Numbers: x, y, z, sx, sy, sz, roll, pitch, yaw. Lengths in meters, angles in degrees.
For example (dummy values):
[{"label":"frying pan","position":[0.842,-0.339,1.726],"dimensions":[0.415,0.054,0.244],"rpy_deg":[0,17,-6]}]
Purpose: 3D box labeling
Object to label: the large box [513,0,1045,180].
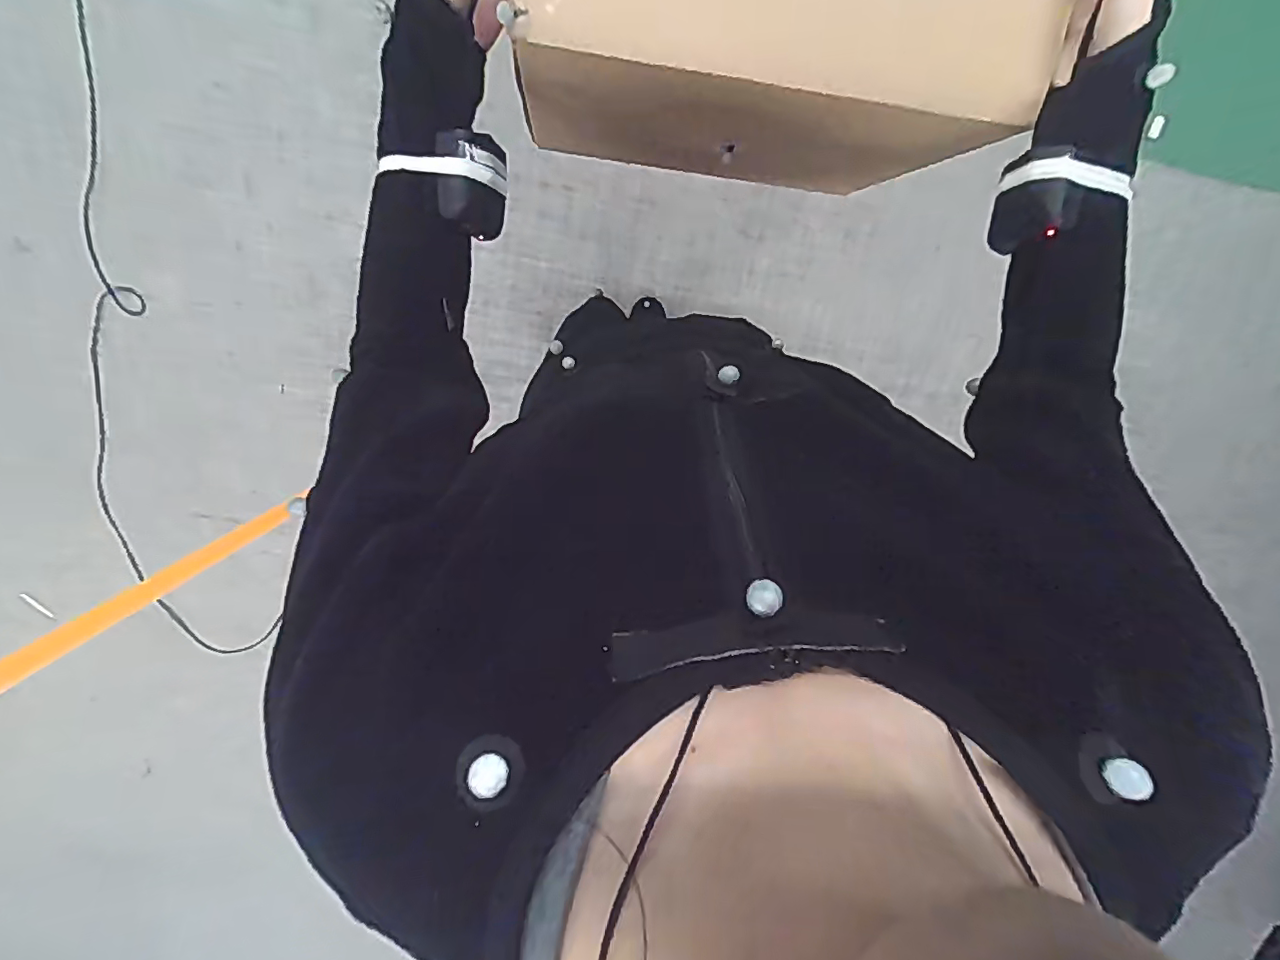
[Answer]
[{"label":"large box","position":[0.104,-0.490,0.499],"dimensions":[0.408,0.320,0.320],"rpy_deg":[3,109,-8]}]
